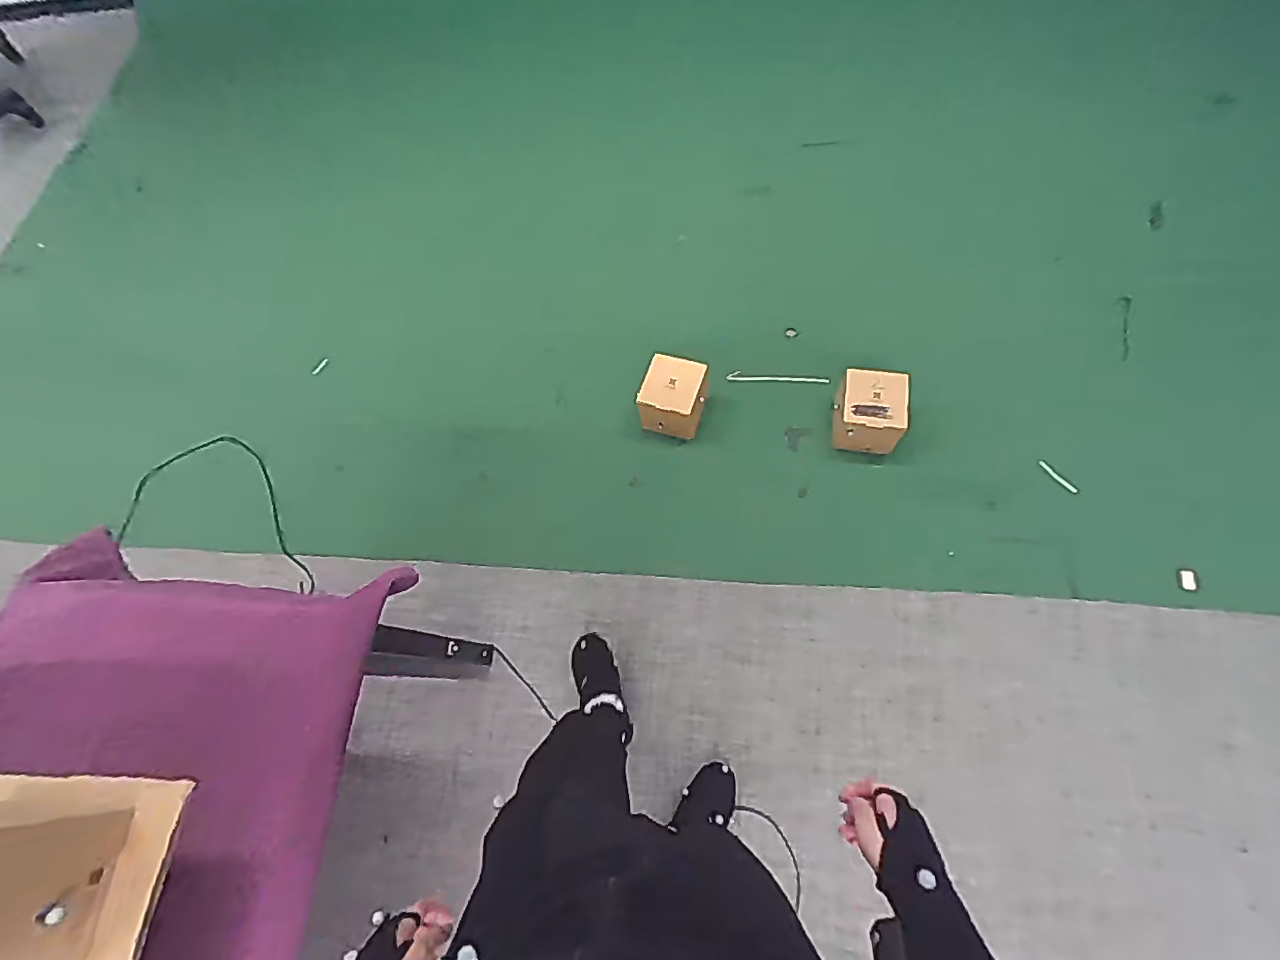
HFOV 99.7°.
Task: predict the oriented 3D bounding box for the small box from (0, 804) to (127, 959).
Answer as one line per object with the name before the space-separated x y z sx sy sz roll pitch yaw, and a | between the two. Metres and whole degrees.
small box | -0.664 0.411 0.507 0.179 0.176 0.168 0 66 6

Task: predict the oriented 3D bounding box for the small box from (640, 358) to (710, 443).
small box | 0.110 -0.239 1.646 0.168 0.176 0.179 16 72 13
